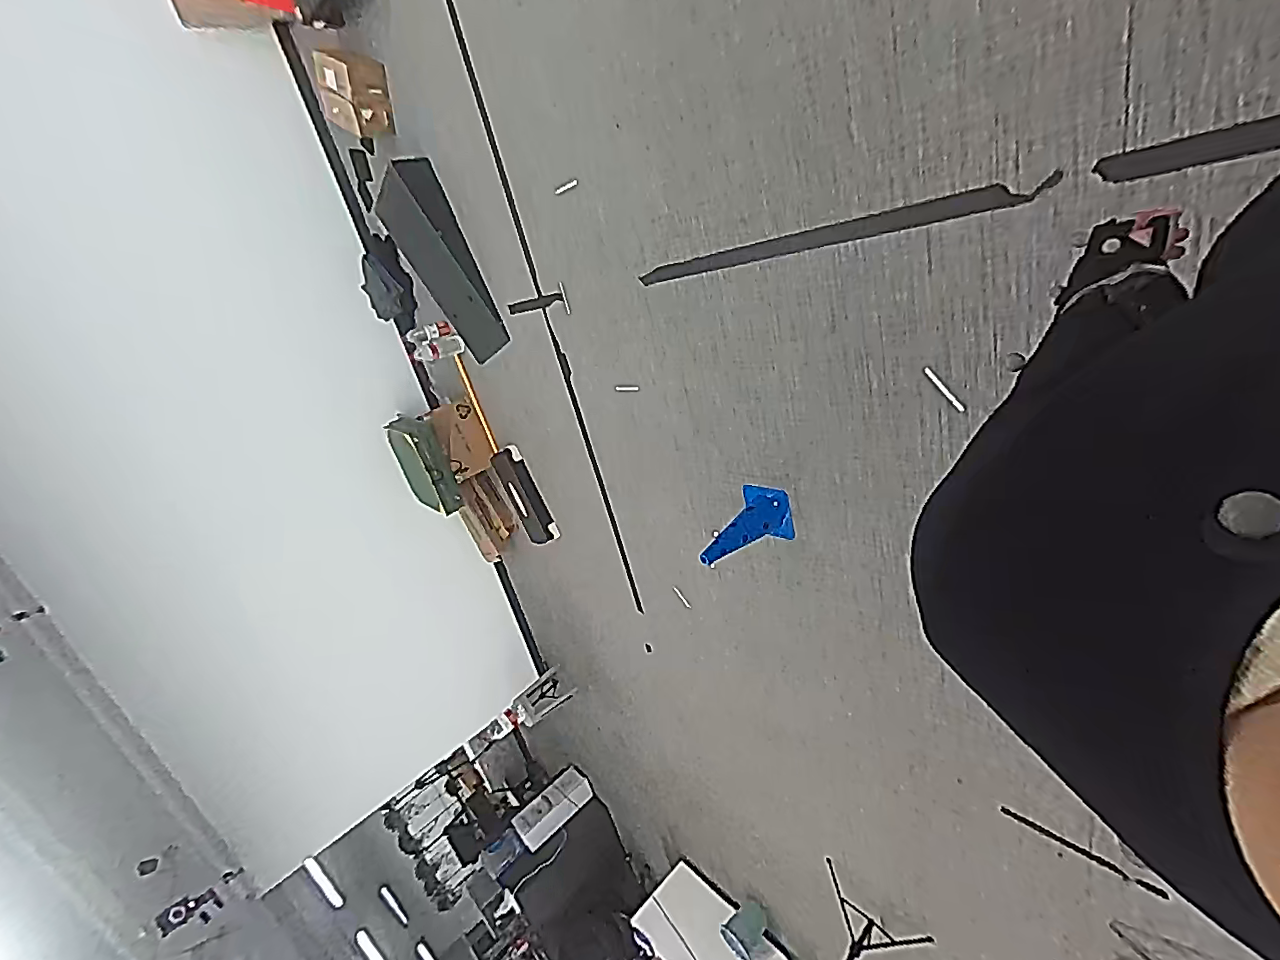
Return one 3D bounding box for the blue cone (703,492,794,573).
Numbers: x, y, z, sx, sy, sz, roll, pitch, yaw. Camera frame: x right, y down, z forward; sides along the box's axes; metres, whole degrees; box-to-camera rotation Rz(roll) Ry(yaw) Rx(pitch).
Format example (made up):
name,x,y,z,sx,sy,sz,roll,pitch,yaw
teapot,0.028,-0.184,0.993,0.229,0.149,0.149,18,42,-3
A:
name,x,y,z,sx,sy,sz,roll,pitch,yaw
blue cone,0.352,0.204,1.884,0.193,0.380,0.192,12,125,50
